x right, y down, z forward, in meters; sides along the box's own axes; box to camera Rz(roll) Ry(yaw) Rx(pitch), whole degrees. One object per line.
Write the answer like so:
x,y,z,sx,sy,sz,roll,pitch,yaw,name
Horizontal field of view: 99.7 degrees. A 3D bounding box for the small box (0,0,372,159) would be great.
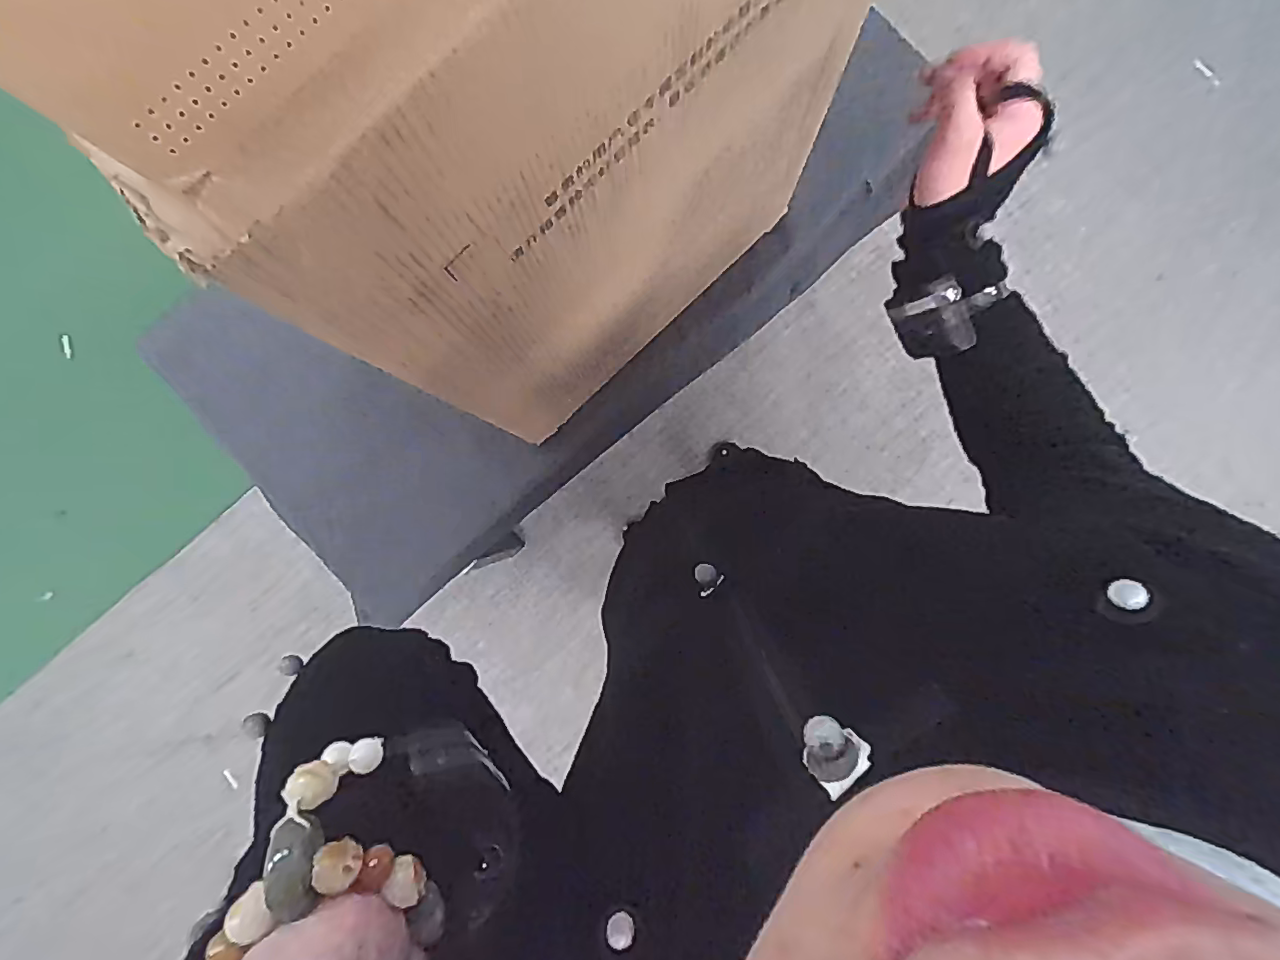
-0.174,-0.233,0.134,0.179,0.176,0.168,-43,88,2,small box
